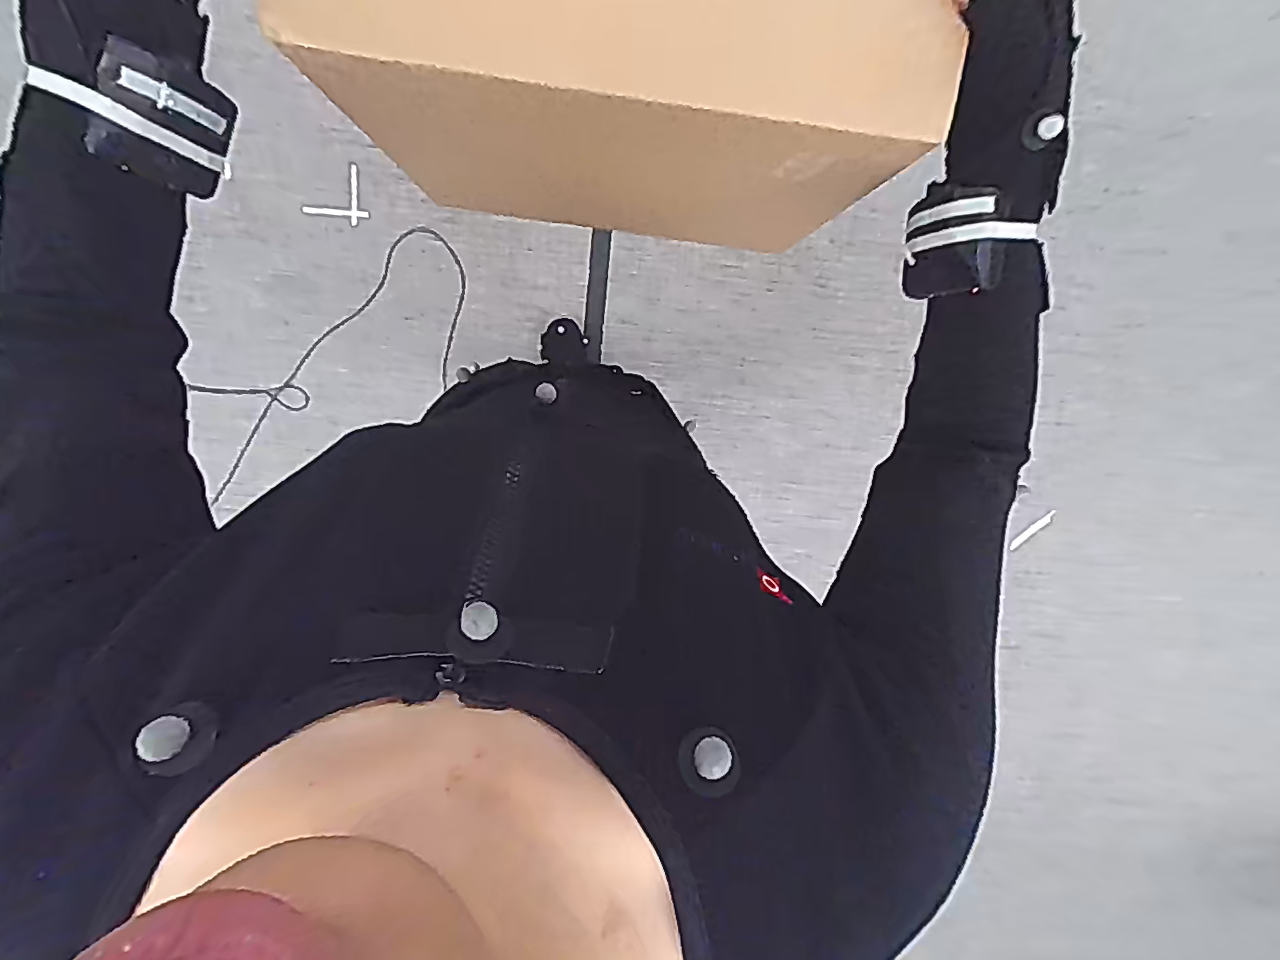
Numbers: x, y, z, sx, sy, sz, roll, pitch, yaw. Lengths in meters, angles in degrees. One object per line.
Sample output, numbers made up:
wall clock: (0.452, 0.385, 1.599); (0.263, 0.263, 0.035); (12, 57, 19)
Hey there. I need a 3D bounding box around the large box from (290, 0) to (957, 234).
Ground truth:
large box: (-0.004, -0.422, 0.446); (0.408, 0.320, 0.320); (5, 102, -5)
